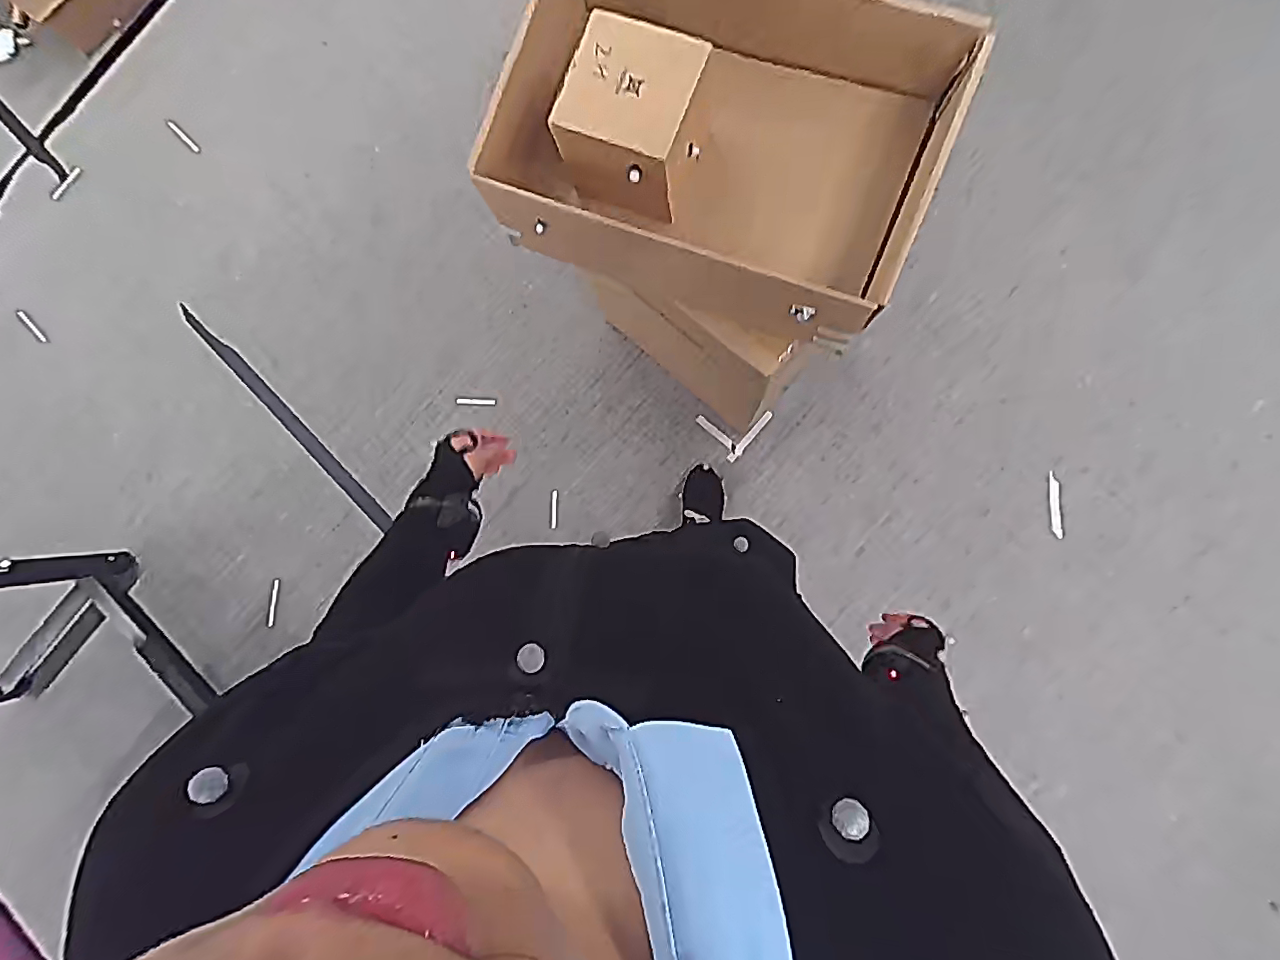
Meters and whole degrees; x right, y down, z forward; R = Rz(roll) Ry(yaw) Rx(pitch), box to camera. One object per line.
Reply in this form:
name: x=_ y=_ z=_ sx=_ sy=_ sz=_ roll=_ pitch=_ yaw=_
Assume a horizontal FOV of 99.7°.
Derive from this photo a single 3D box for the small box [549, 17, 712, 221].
small box: x=-0.004 y=-0.516 z=0.800 sx=0.179 sy=0.176 sz=0.168 roll=23 pitch=90 yaw=8
